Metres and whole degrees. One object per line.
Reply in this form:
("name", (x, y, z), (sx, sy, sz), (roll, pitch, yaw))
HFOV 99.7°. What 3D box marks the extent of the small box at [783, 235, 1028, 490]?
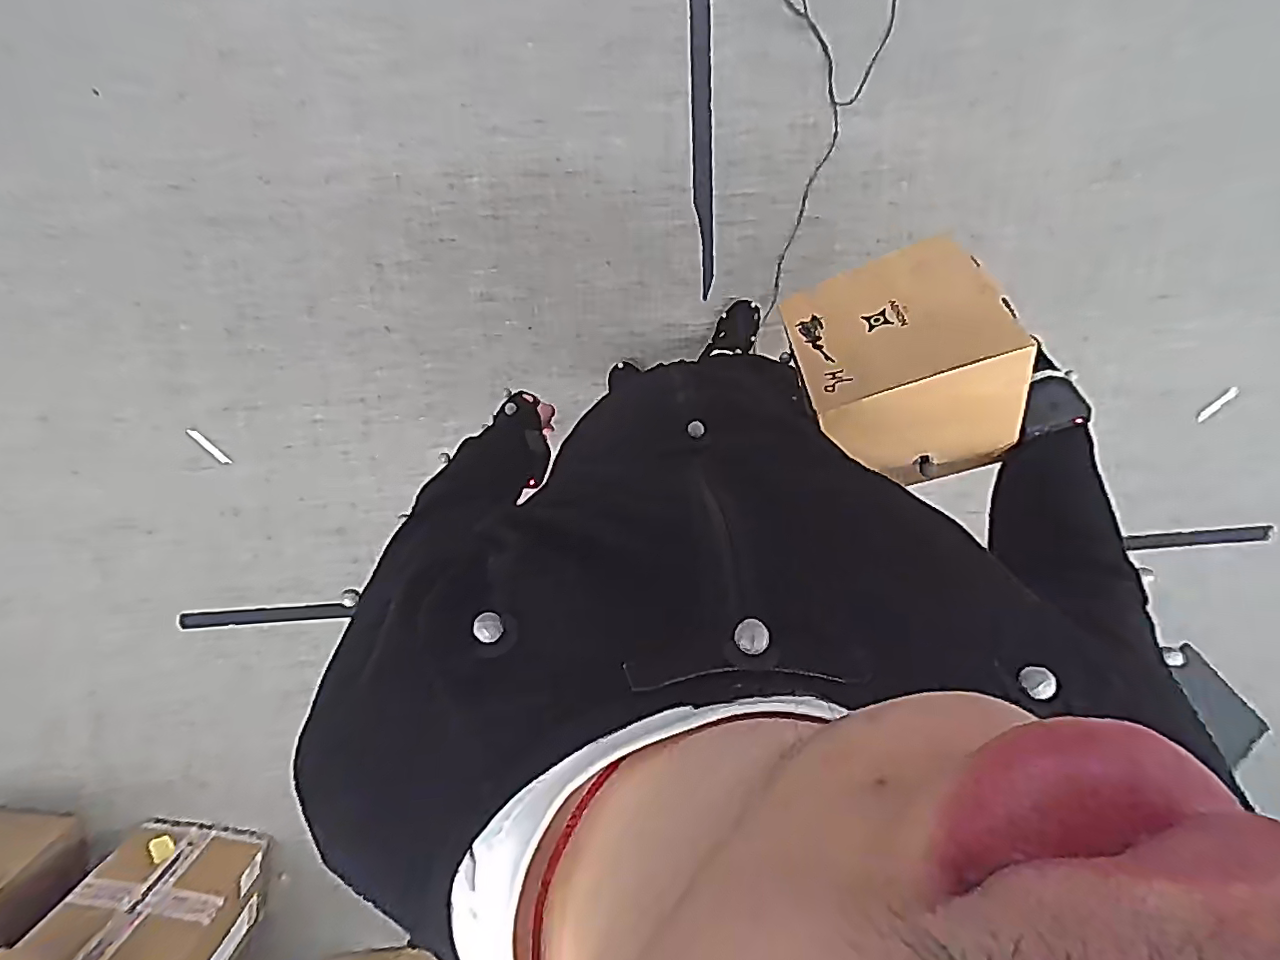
("small box", (0.269, -0.114, 0.576), (0.179, 0.168, 0.176), (-18, 141, 17))
